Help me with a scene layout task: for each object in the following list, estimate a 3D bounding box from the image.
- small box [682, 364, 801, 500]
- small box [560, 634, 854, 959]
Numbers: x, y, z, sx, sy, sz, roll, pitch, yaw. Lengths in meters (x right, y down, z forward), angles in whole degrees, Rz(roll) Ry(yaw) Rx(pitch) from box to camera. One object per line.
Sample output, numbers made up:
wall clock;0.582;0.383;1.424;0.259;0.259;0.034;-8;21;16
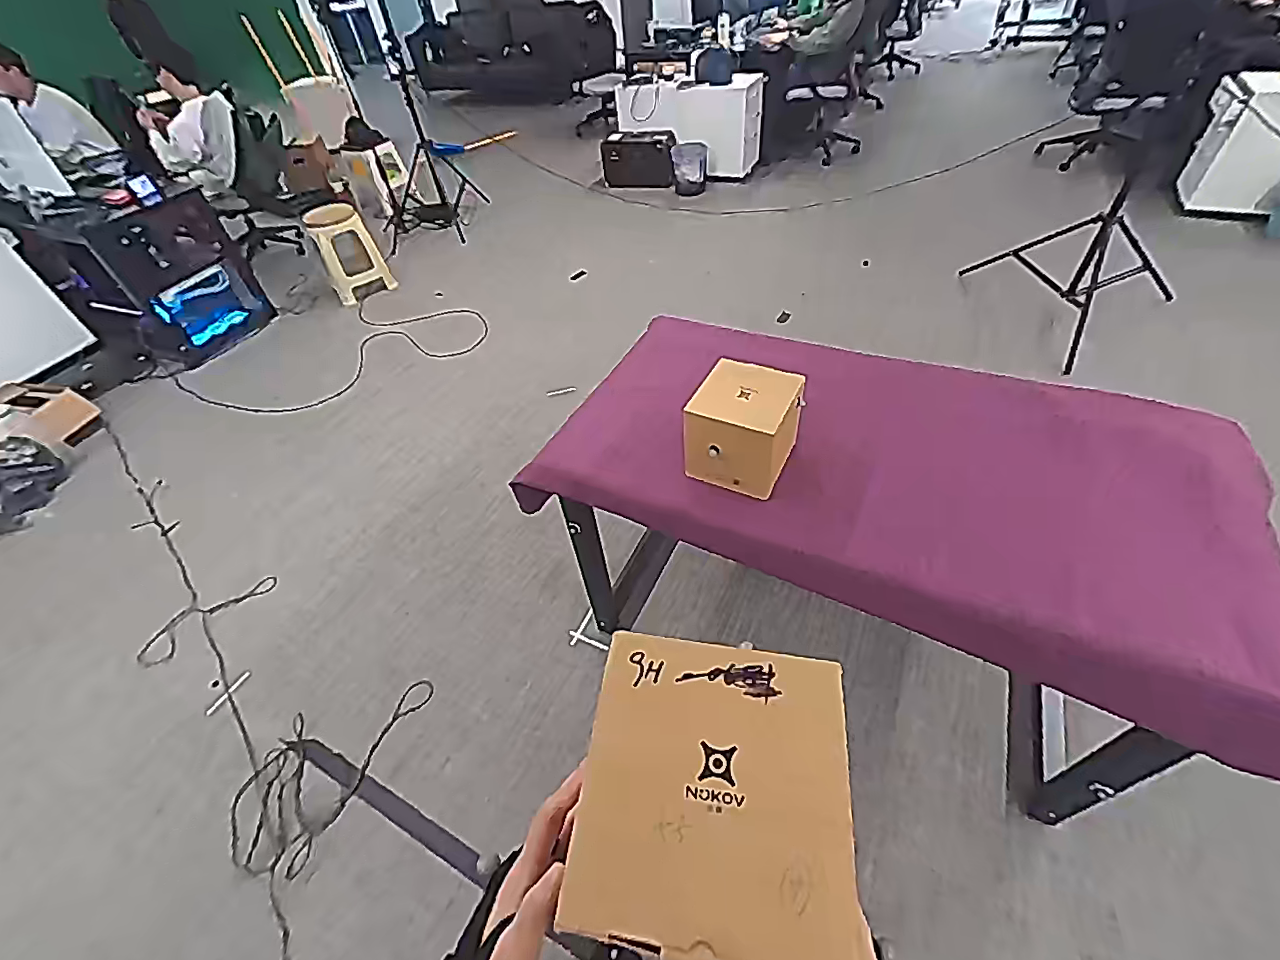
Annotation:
small box;0.191;-0.089;1.019;0.168;0.176;0.179;18;50;22
small box;0.051;0.241;0.407;0.168;0.176;0.179;7;52;7
